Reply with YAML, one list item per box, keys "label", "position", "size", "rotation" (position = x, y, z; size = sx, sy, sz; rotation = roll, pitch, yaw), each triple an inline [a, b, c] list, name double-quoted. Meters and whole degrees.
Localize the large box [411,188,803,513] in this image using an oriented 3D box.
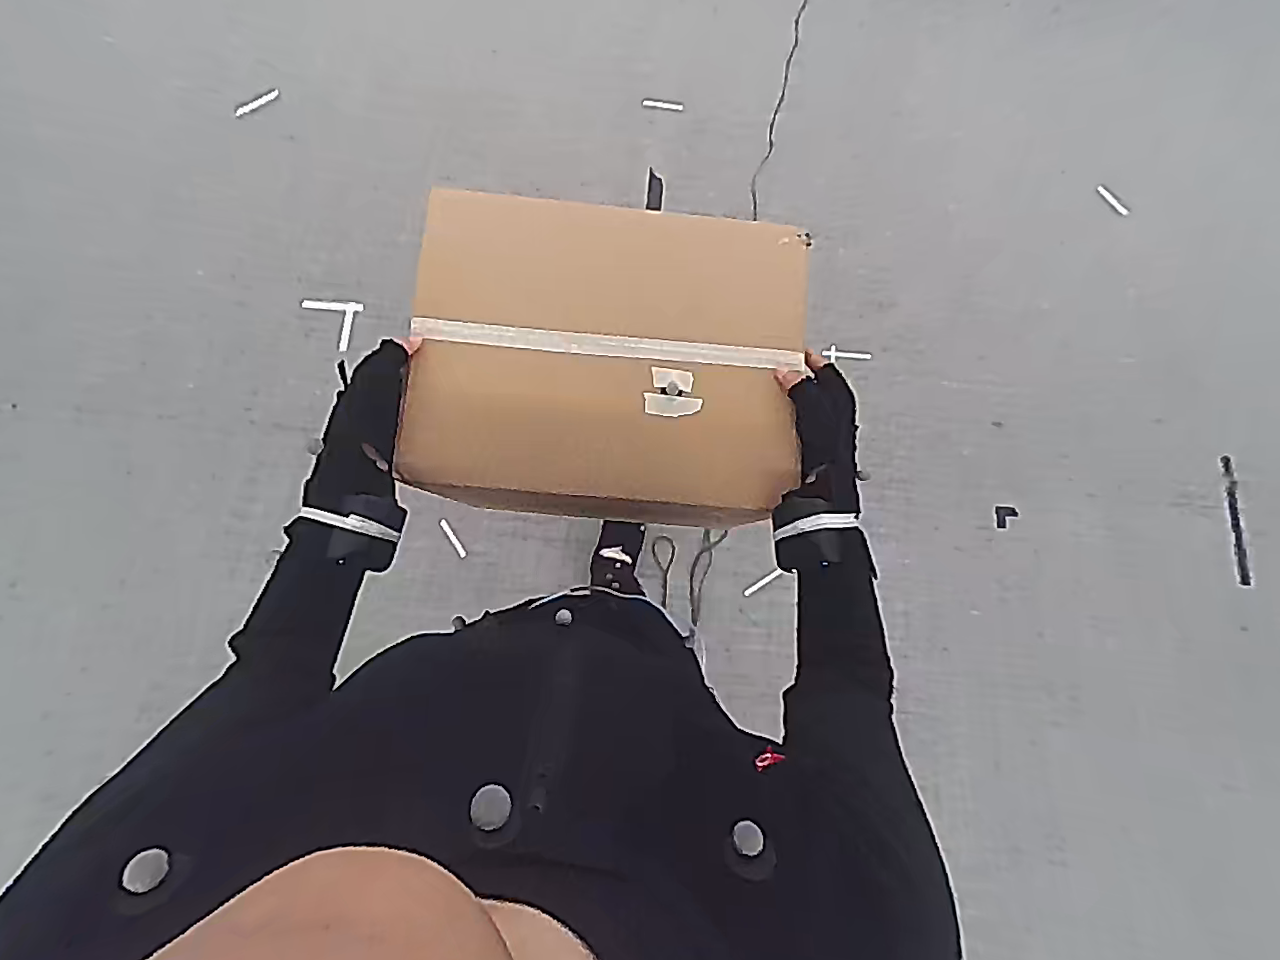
- label: "large box"
  position: [-0.037, -0.132, 0.720]
  size: [0.408, 0.320, 0.320]
  rotation: [5, 83, -3]
